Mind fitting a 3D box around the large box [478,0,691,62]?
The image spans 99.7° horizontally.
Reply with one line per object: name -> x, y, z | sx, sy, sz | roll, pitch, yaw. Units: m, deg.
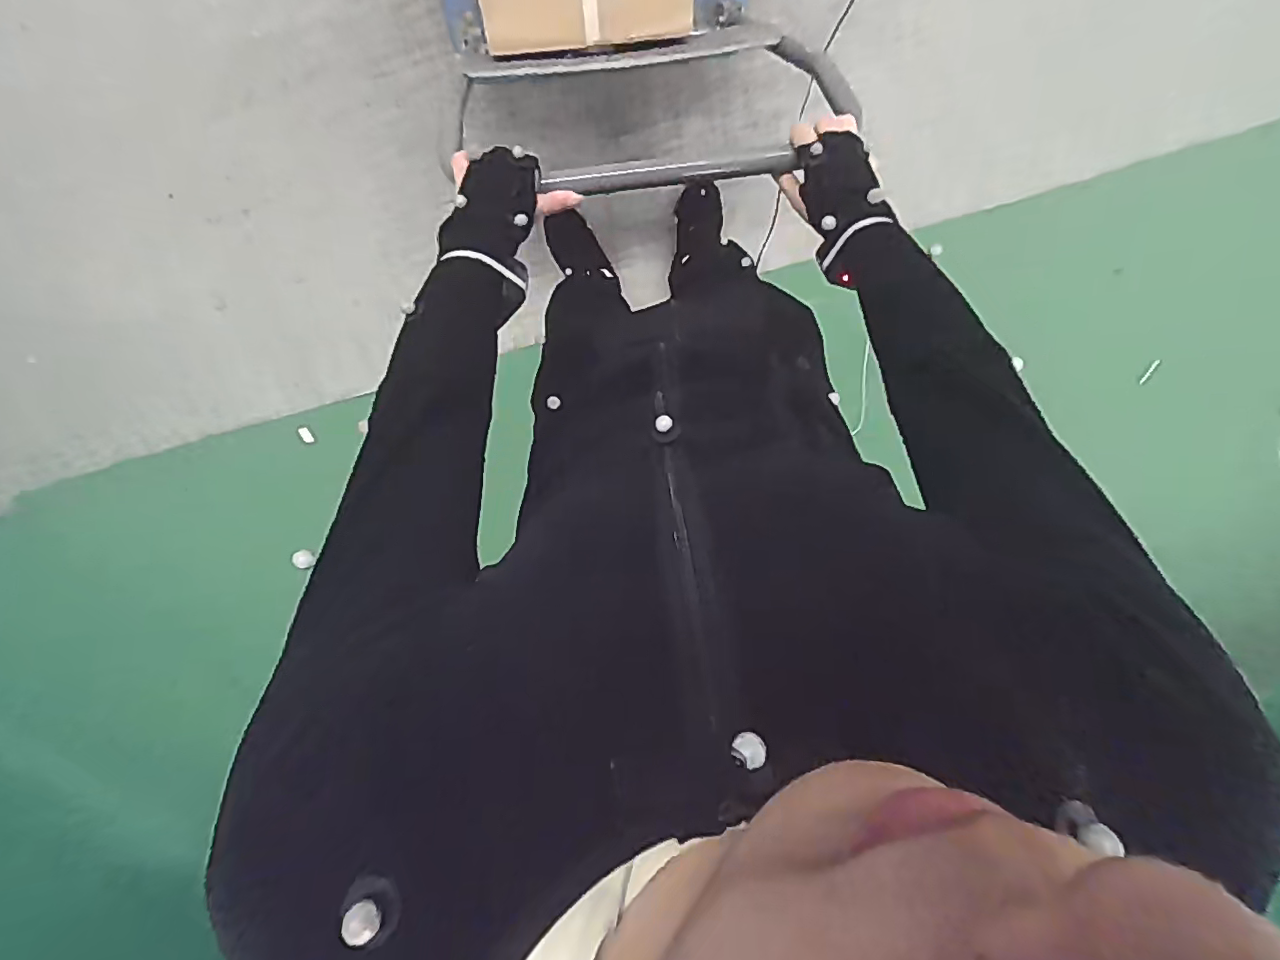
large box -> -0.108, -0.903, 0.807 | 0.320, 0.320, 0.408 | -8, 132, -3
